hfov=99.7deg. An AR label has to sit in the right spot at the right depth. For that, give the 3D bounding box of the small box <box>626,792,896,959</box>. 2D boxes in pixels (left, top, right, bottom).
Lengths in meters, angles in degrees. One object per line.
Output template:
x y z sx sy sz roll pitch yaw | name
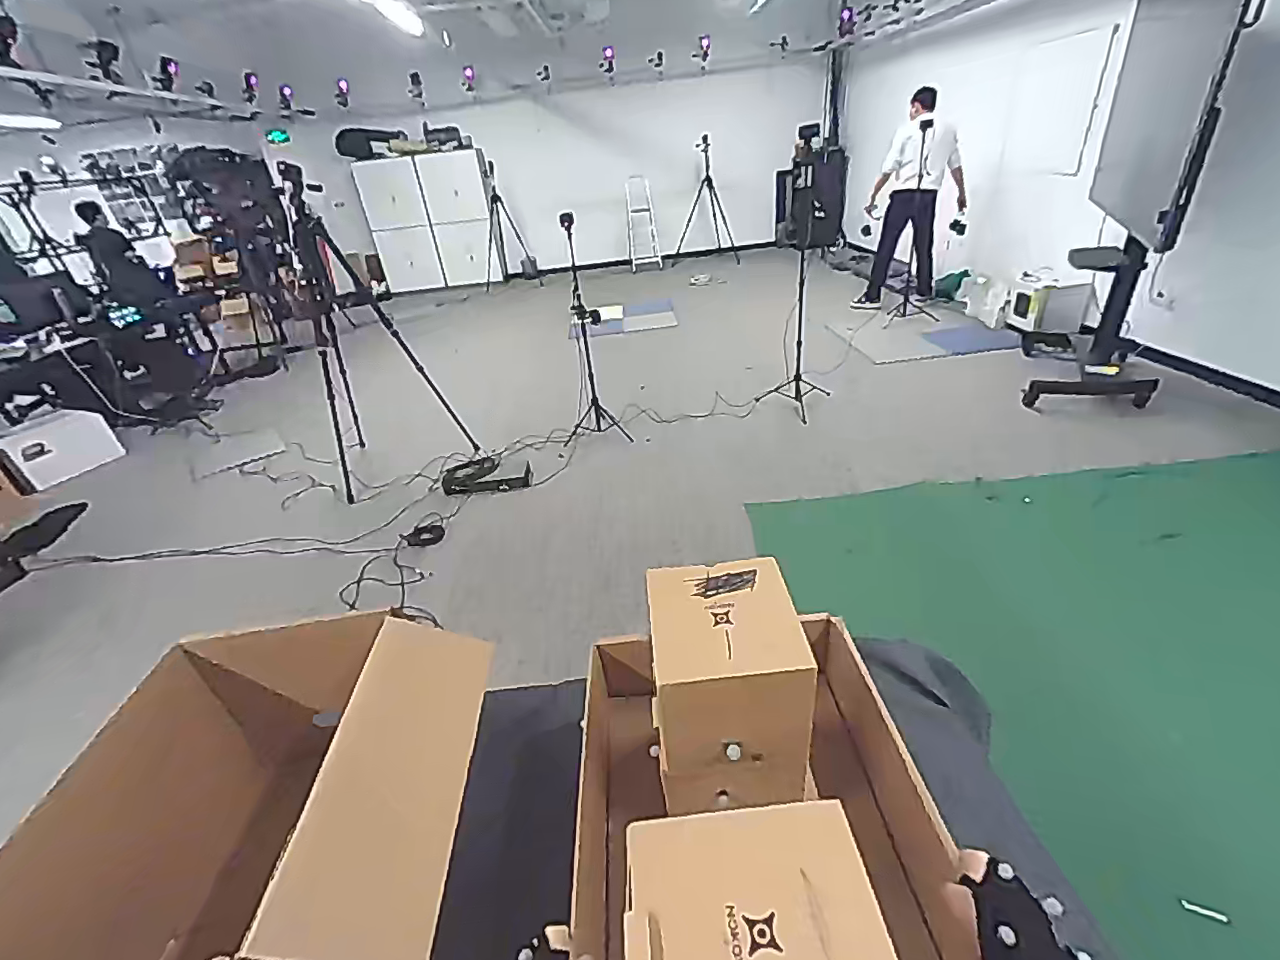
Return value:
0.087 0.376 0.416 0.179 0.176 0.168 -7 32 0 | small box

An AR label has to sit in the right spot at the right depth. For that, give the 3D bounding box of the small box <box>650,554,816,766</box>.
0.102 0.215 0.661 0.168 0.176 0.179 -6 33 1 | small box
